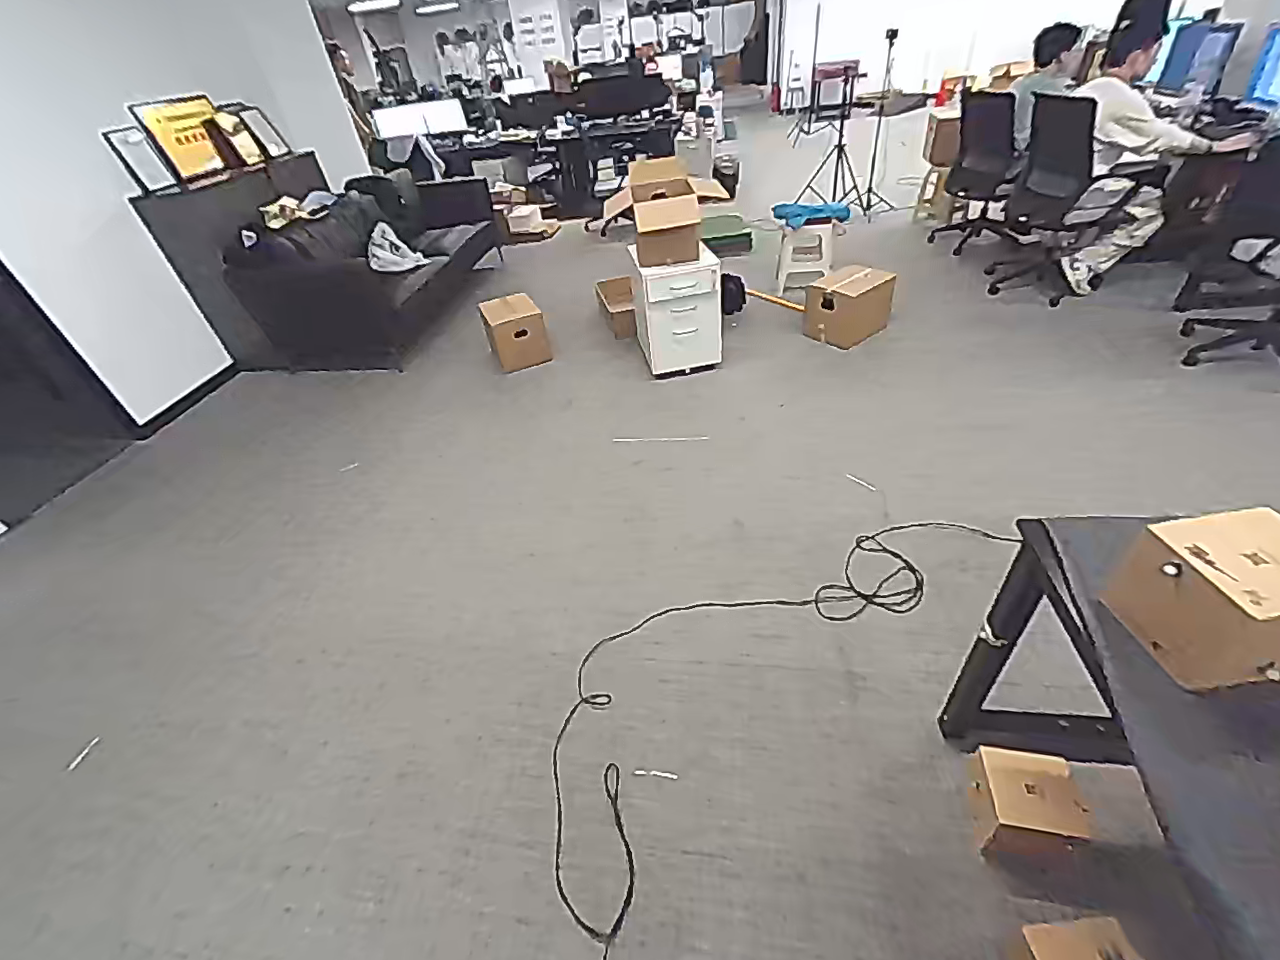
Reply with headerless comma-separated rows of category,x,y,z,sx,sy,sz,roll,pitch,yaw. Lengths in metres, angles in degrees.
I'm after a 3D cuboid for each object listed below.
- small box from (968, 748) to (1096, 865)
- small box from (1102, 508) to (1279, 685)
small box,0.862,0.734,1.215,0.179,0.176,0.168,3,39,13
small box,0.817,0.164,0.758,0.179,0.176,0.168,-8,38,0
